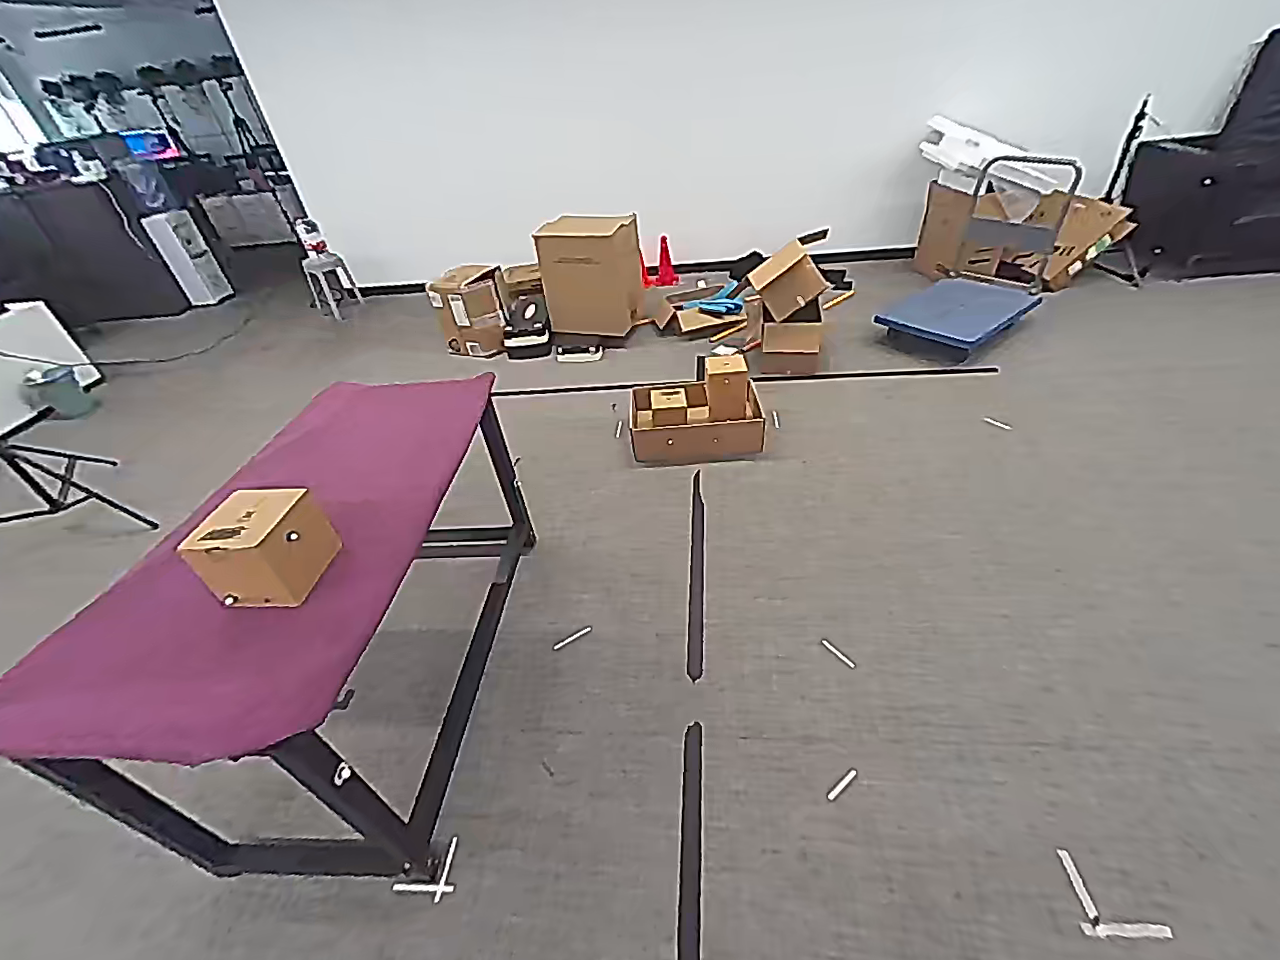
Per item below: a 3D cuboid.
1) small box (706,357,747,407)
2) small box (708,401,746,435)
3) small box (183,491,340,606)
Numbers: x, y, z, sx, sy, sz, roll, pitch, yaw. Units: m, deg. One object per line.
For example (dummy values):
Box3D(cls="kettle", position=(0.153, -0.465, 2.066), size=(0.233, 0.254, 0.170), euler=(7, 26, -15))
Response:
Box3D(cls="small box", position=(0.399, -0.453, 2.509), size=(0.179, 0.176, 0.168), euler=(-5, 38, 4))
Box3D(cls="small box", position=(0.419, -0.328, 2.610), size=(0.168, 0.176, 0.179), euler=(-4, 37, 4))
Box3D(cls="small box", position=(-0.756, 0.142, 1.108), size=(0.168, 0.176, 0.179), euler=(-2, 38, 7))
